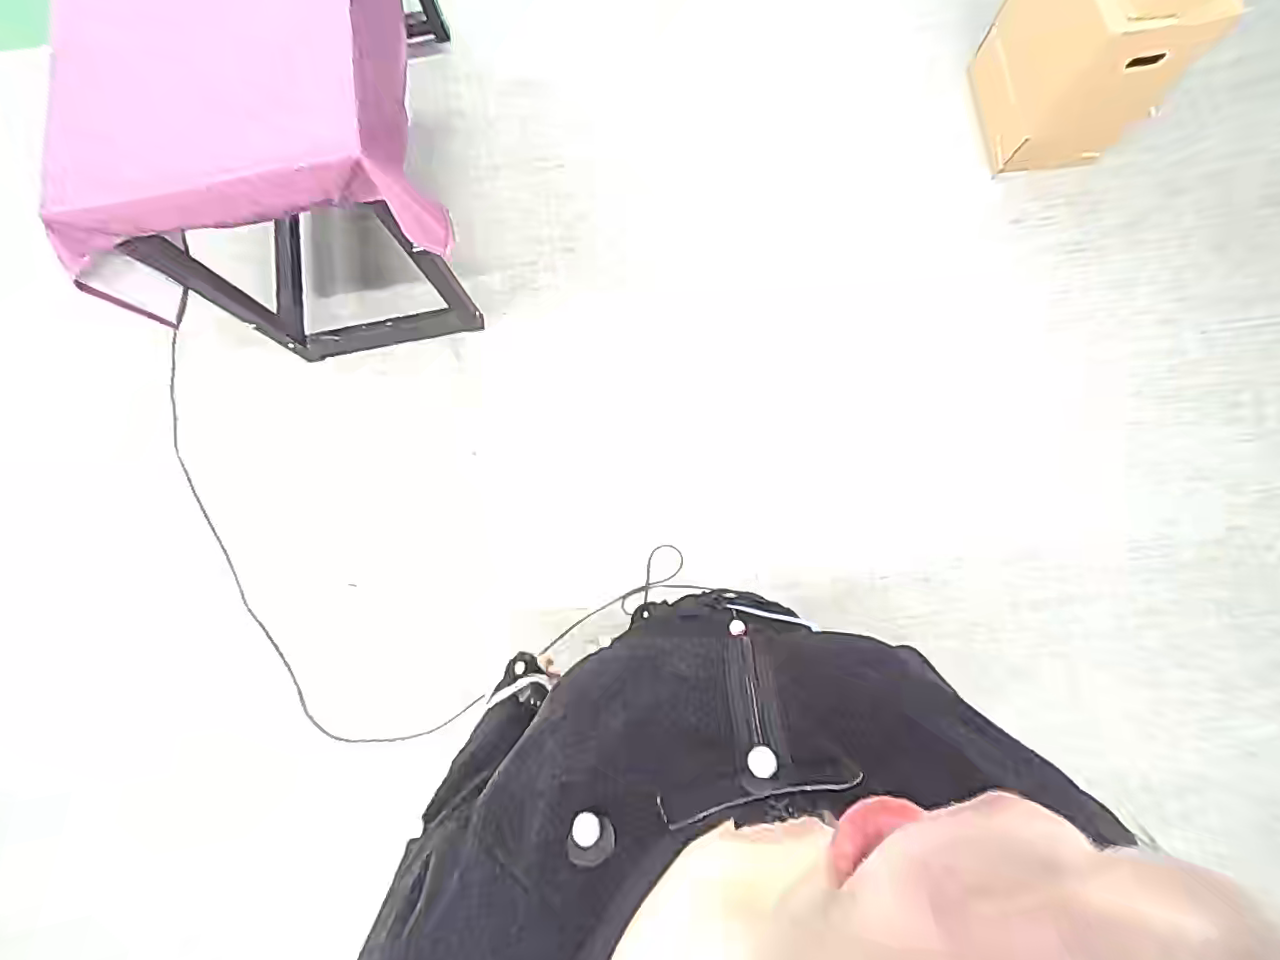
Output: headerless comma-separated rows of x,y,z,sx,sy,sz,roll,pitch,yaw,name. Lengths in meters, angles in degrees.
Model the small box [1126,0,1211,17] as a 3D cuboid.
1.203,-1.160,1.179,0.179,0.176,0.168,-3,78,2,small box
